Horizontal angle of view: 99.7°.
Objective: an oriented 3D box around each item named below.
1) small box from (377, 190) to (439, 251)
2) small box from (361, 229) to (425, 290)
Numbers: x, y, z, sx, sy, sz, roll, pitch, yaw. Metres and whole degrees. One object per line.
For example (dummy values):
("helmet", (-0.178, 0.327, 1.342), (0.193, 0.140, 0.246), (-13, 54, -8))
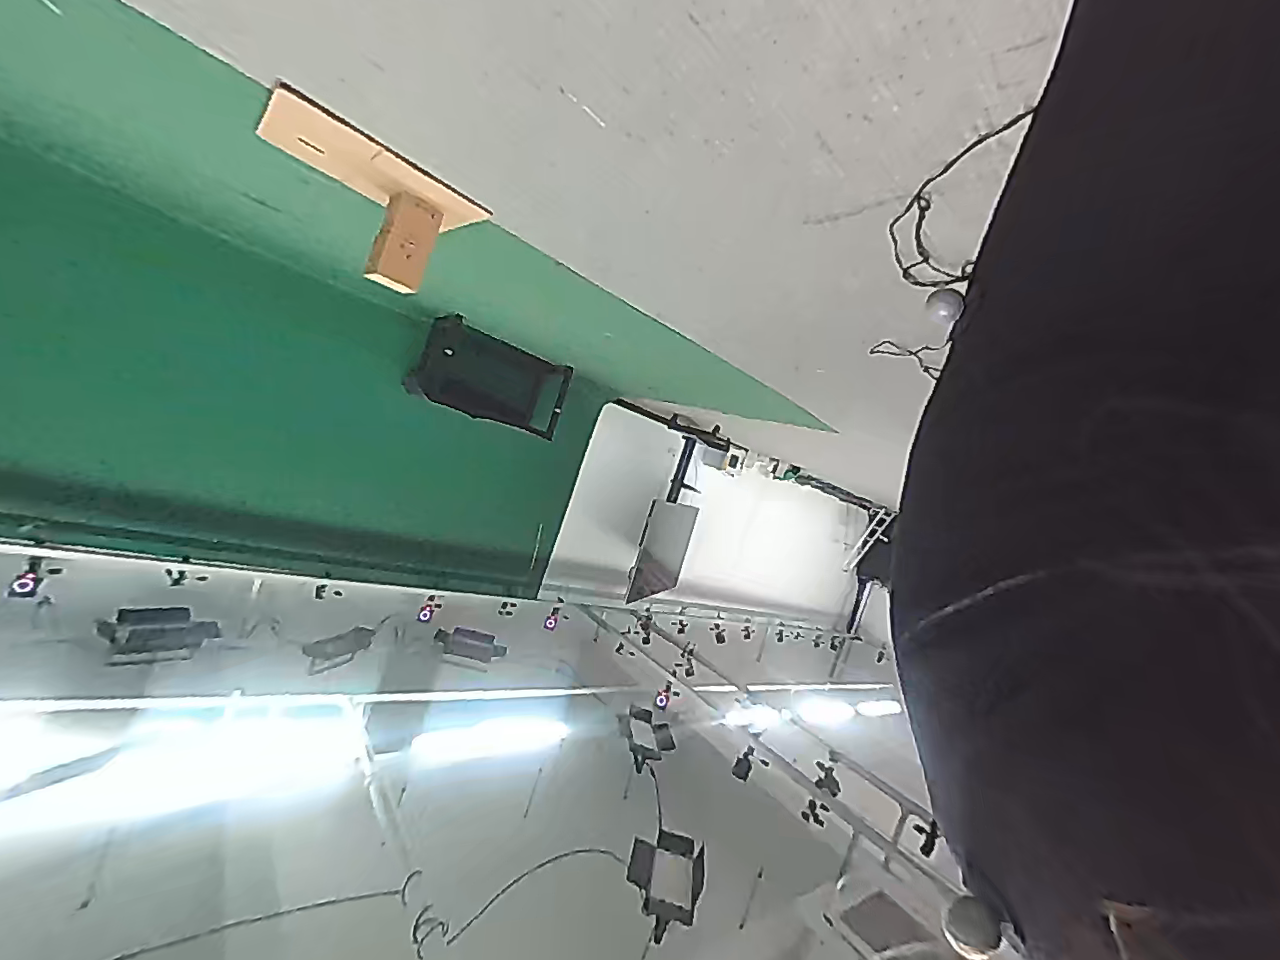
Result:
("small box", (-0.925, -1.032, 2.161), (0.168, 0.176, 0.179), (17, -177, -44))
("small box", (-0.990, -0.883, 2.171), (0.168, 0.176, 0.179), (18, -178, -45))
